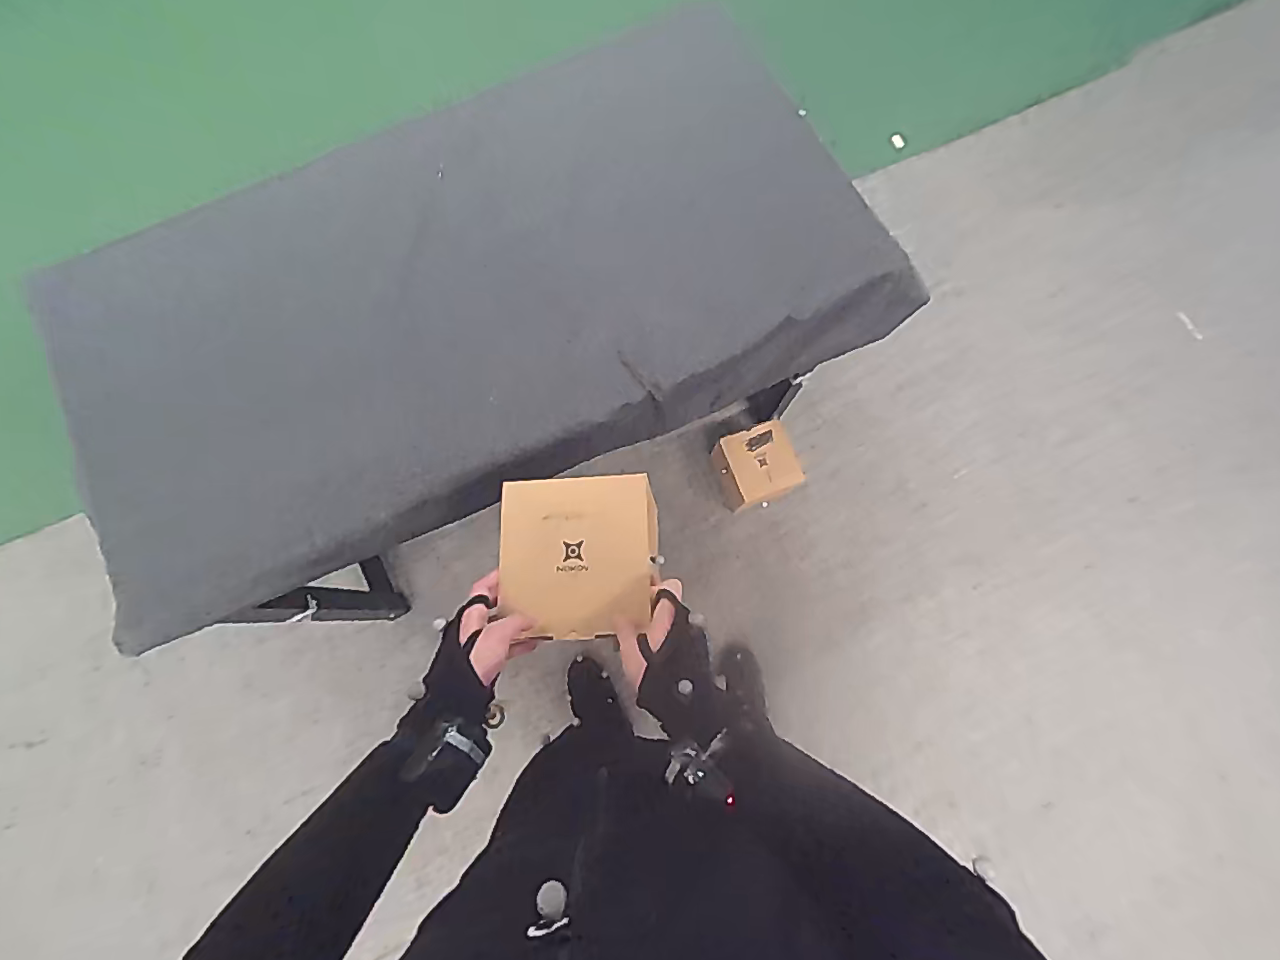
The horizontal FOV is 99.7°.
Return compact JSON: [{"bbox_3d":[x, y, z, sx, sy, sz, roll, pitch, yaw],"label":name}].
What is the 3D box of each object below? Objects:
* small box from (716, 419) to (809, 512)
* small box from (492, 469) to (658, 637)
[{"bbox_3d":[0.311,-0.033,1.419,0.168,0.176,0.179,-21,77,-4],"label":"small box"},{"bbox_3d":[-0.068,0.097,0.657,0.168,0.176,0.179,-4,73,5],"label":"small box"}]
